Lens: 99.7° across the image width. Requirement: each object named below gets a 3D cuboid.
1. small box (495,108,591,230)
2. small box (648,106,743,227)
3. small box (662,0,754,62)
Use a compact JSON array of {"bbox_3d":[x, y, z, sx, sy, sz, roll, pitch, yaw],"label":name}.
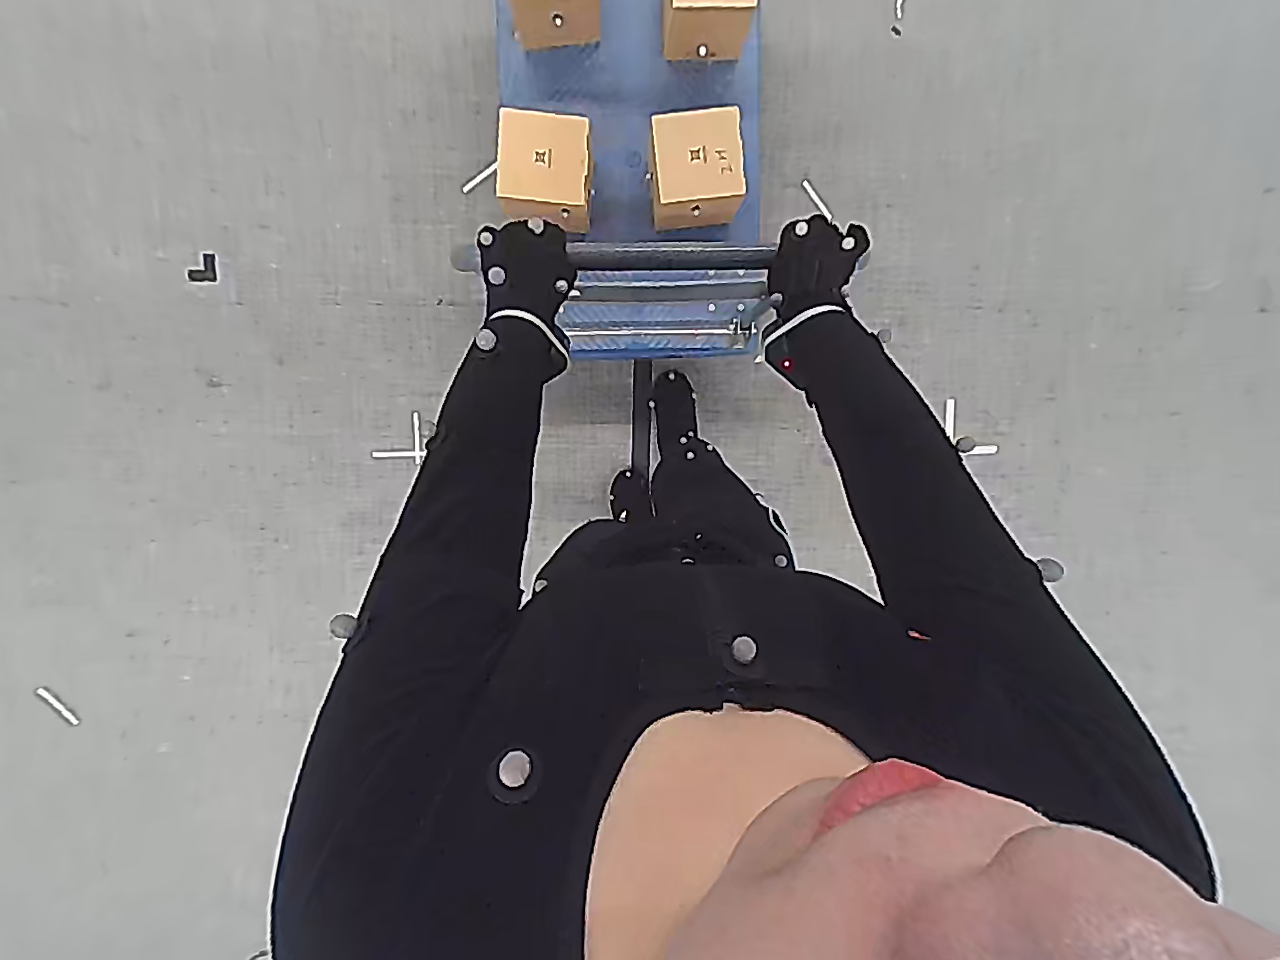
[{"bbox_3d":[-0.197,-0.644,1.138,0.179,0.176,0.168,4,97,-5],"label":"small box"},{"bbox_3d":[0.110,-0.655,1.149,0.179,0.176,0.168,-7,98,-1],"label":"small box"},{"bbox_3d":[0.134,-1.003,1.104,0.168,0.176,0.179,-2,99,-2],"label":"small box"}]
